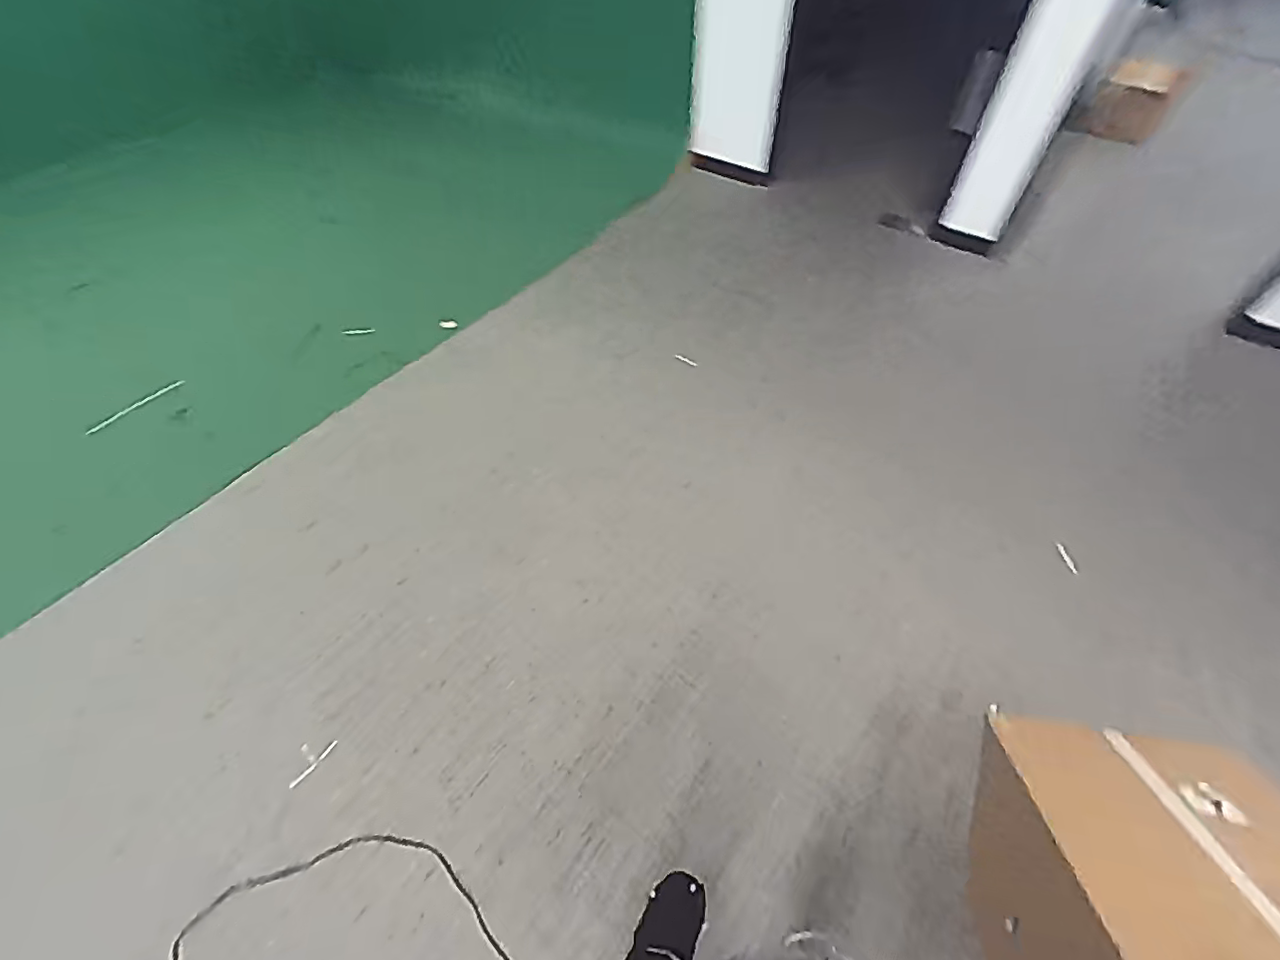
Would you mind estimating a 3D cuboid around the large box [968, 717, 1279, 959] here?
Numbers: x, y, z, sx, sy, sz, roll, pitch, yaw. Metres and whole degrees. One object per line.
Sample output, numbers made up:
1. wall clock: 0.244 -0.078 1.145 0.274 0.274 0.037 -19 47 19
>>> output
1. large box: 0.626 0.554 0.631 0.320 0.320 0.408 5 11 16
